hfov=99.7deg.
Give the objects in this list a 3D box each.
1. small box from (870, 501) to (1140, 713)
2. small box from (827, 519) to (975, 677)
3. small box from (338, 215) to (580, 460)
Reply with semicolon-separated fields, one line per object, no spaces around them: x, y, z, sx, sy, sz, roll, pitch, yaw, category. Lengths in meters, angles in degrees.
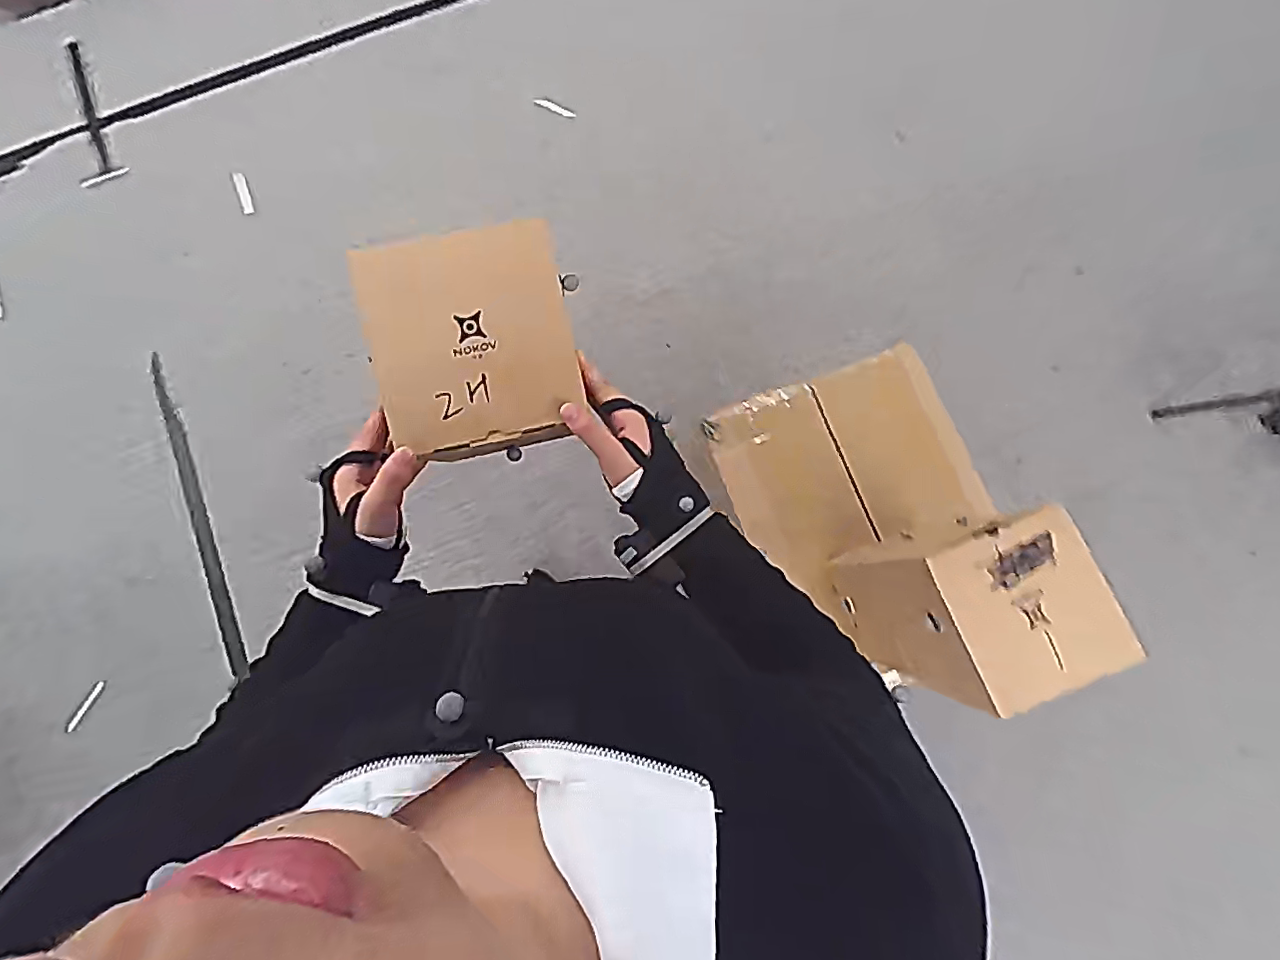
0.404;0.143;0.638;0.168;0.176;0.179;-21;80;-2;small box
0.409;0.169;0.801;0.179;0.176;0.168;-21;79;-1;small box
-0.158;-0.123;0.530;0.168;0.176;0.179;-14;92;-5;small box
